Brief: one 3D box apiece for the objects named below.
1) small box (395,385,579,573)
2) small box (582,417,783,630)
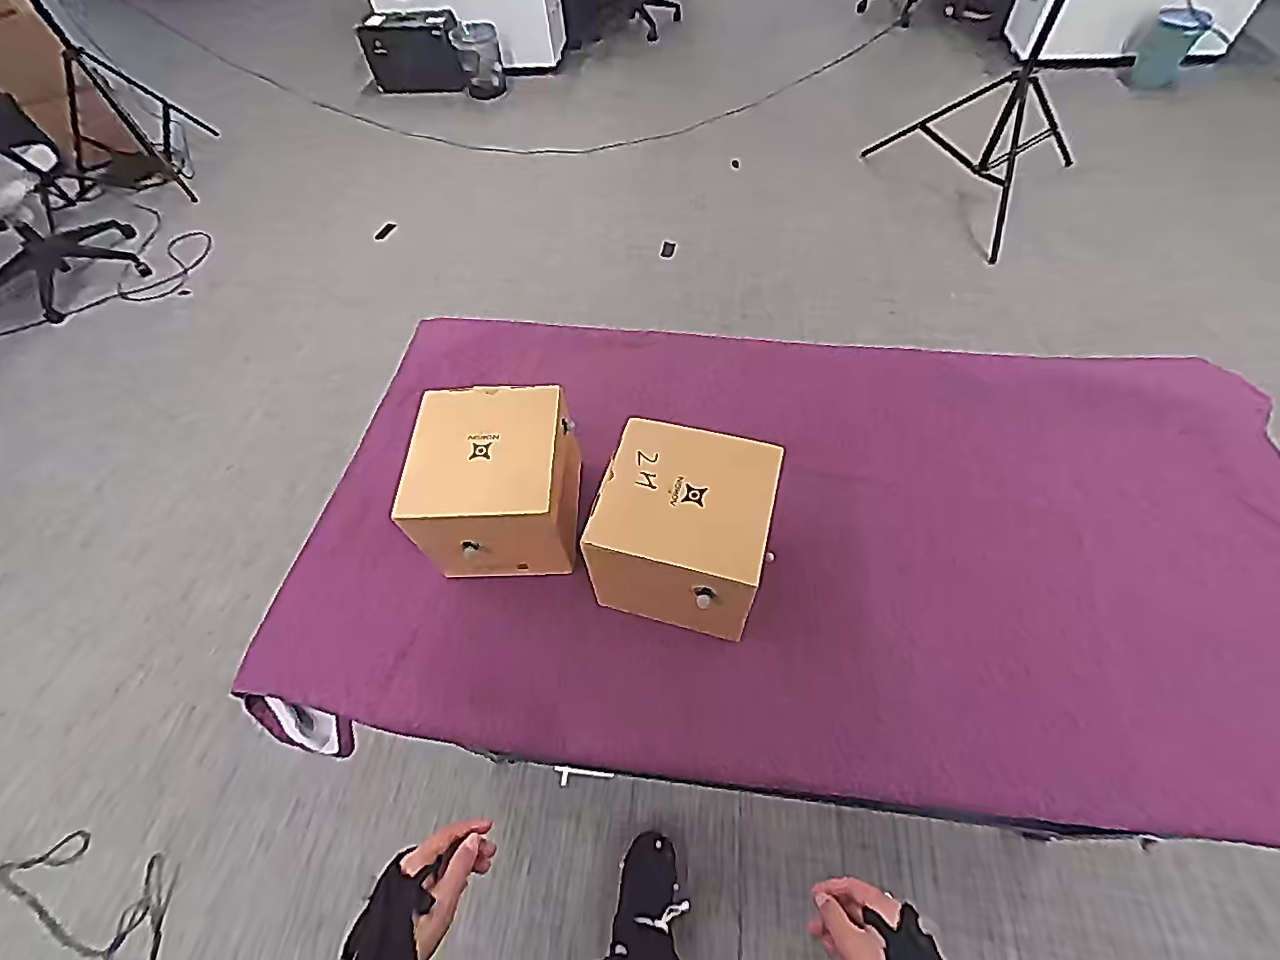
[{"bbox_3d":[-0.170,0.008,0.667,0.168,0.176,0.179,-3,57,2],"label":"small box"},{"bbox_3d":[0.052,0.056,0.619,0.179,0.176,0.168,12,57,12],"label":"small box"}]
